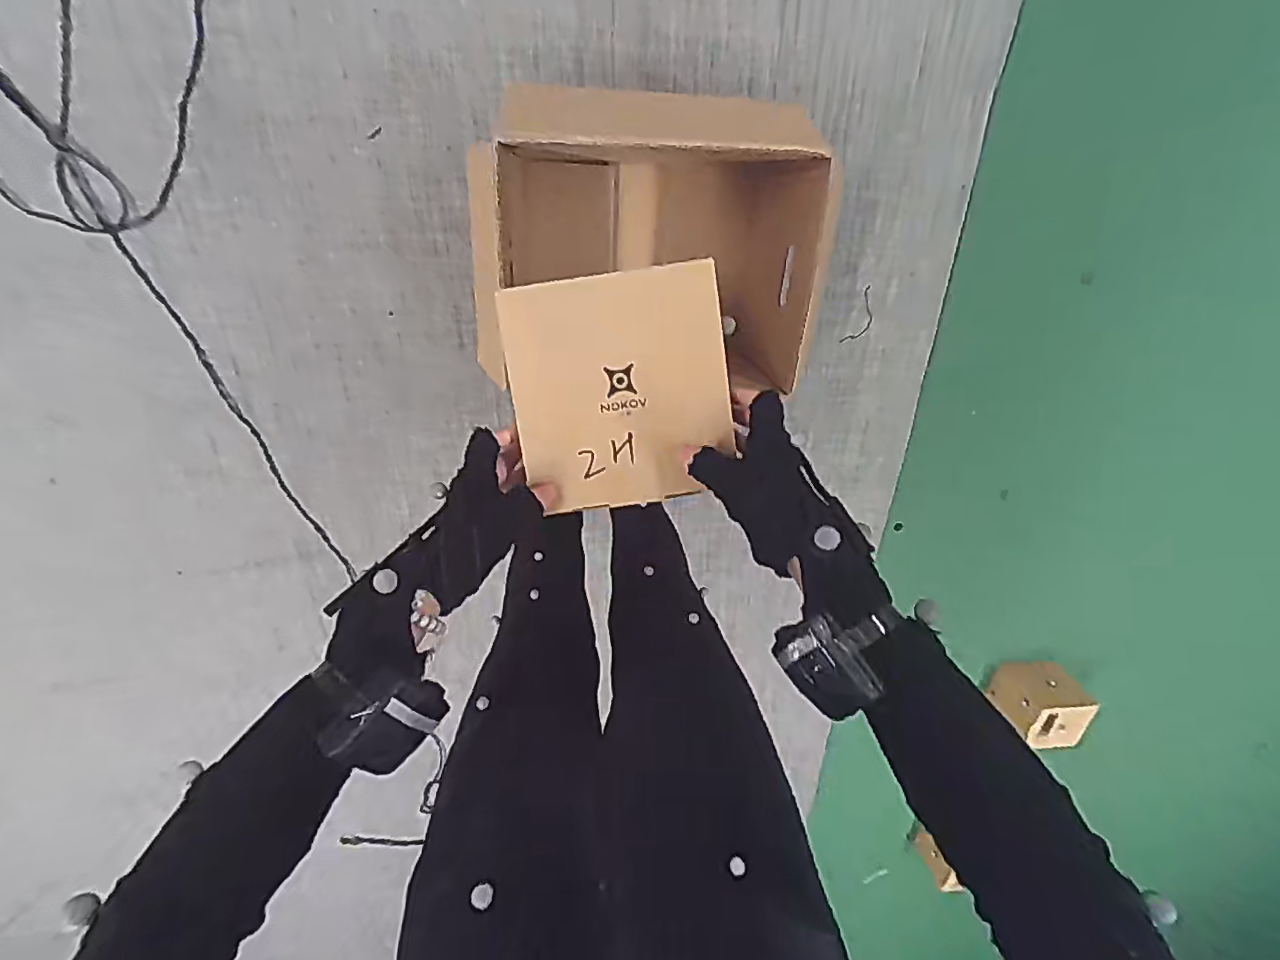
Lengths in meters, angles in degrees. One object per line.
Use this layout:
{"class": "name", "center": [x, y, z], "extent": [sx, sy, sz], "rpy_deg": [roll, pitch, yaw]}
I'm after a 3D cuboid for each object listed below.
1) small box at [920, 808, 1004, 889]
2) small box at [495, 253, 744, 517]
{"class": "small box", "center": [1.110, 1.281, 1.885], "extent": [0.168, 0.176, 0.179], "rpy_deg": [-1, 117, -7]}
{"class": "small box", "center": [-0.014, -0.080, 0.476], "extent": [0.168, 0.176, 0.179], "rpy_deg": [-8, 101, 1]}
